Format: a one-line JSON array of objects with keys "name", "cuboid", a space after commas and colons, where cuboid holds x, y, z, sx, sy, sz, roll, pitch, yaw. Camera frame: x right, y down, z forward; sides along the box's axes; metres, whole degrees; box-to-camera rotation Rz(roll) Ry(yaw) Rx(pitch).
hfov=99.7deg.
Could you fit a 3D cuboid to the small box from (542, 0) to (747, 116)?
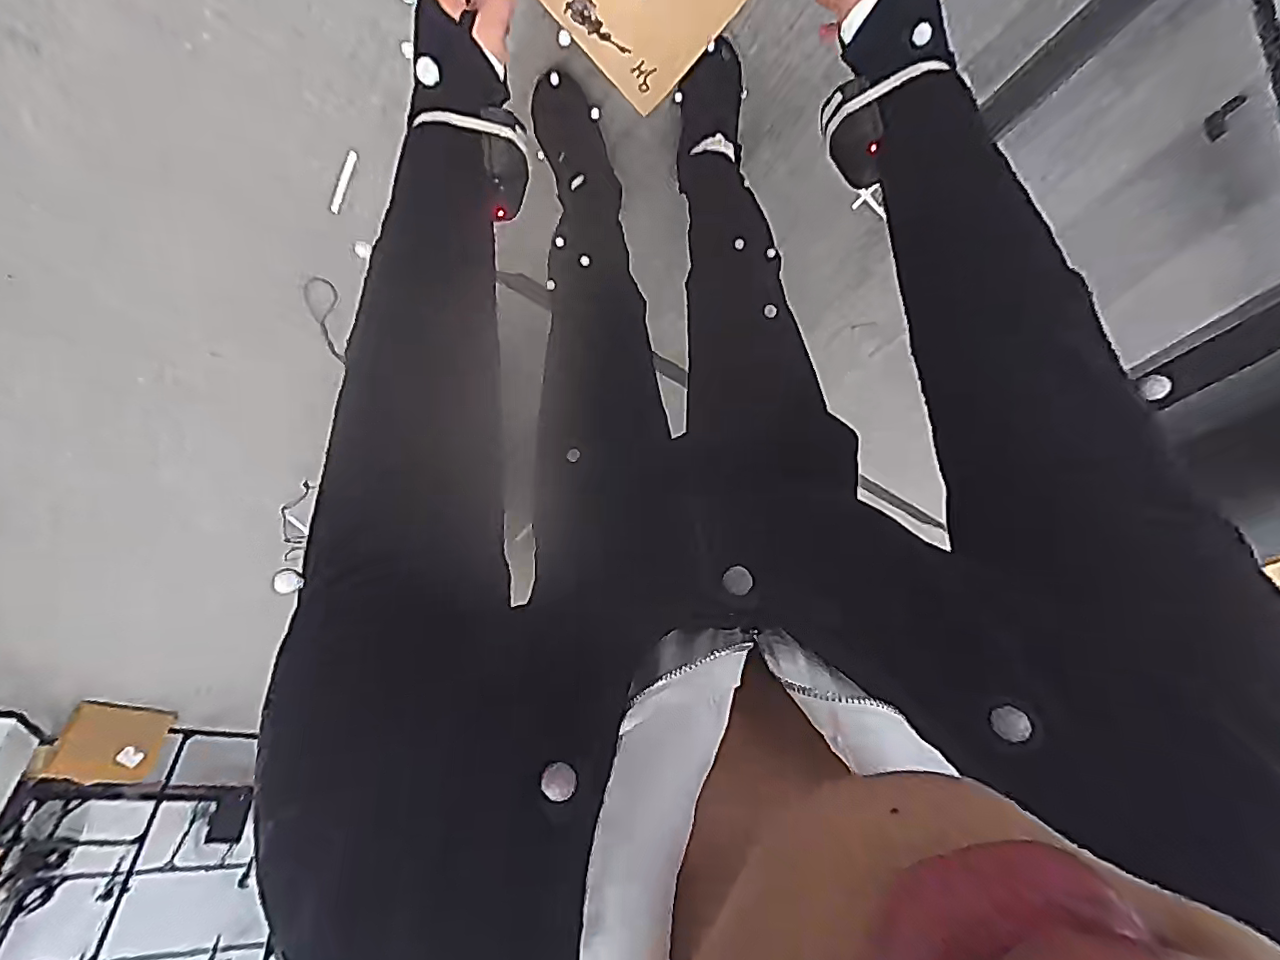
[{"name": "small box", "cuboid": [0.001, -0.512, 0.517, 0.168, 0.176, 0.179, 28, 130, -37]}]
